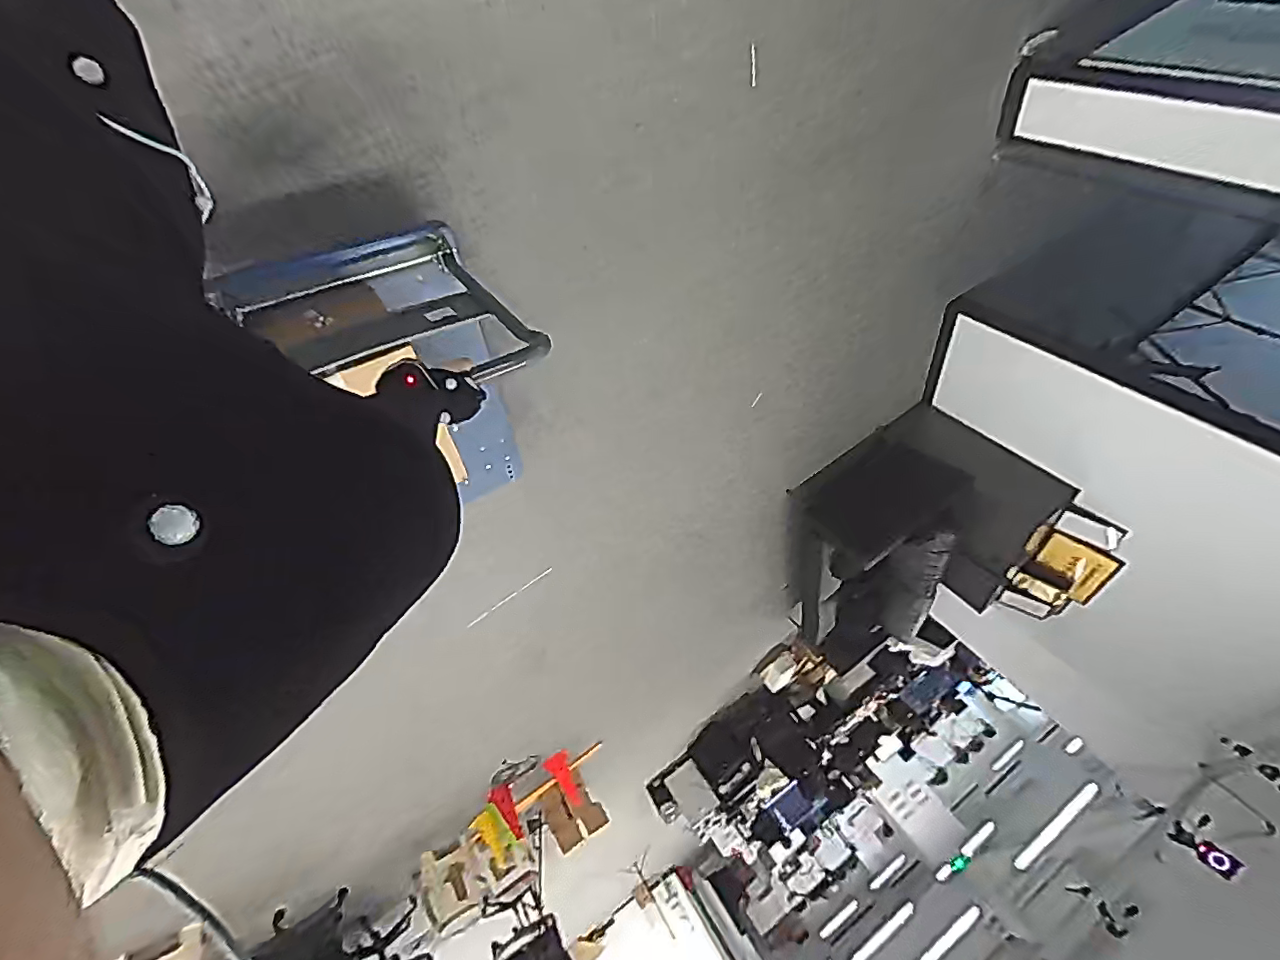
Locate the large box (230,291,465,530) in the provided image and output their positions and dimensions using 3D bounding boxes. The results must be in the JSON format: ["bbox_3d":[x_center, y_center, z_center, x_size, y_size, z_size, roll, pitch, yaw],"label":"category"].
[{"bbox_3d":[-0.677,-0.165,1.287,0.320,0.320,0.408,-28,141,-19],"label":"large box"}]
